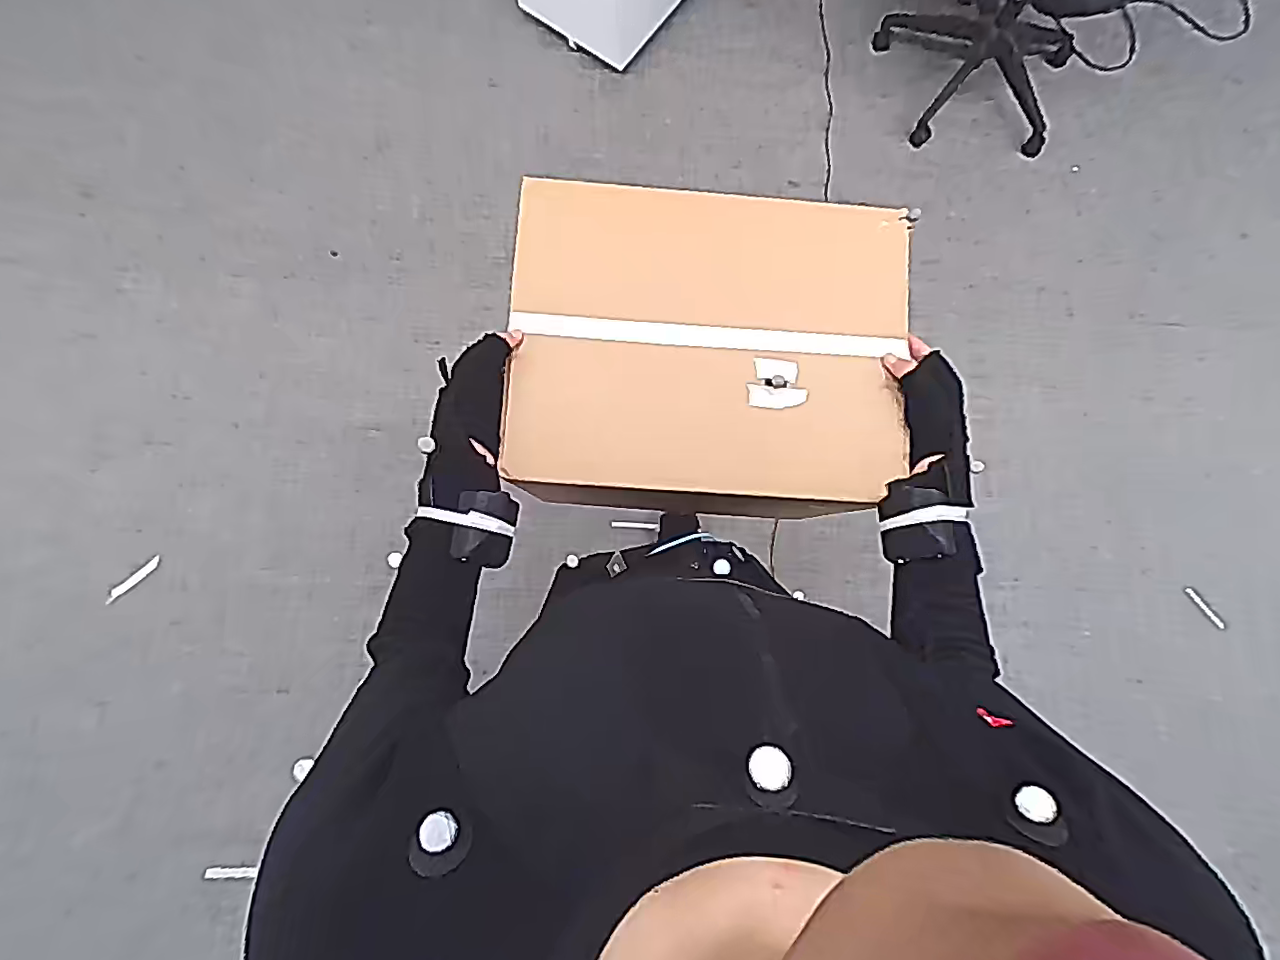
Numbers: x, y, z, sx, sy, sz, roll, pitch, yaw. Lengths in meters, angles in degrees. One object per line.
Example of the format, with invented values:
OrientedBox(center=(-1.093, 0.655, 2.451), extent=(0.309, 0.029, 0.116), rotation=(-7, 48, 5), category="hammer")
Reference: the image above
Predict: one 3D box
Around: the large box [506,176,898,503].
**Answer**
OrientedBox(center=(0.061, -0.141, 0.707), extent=(0.408, 0.320, 0.320), rotation=(4, 85, -3), category="large box")
